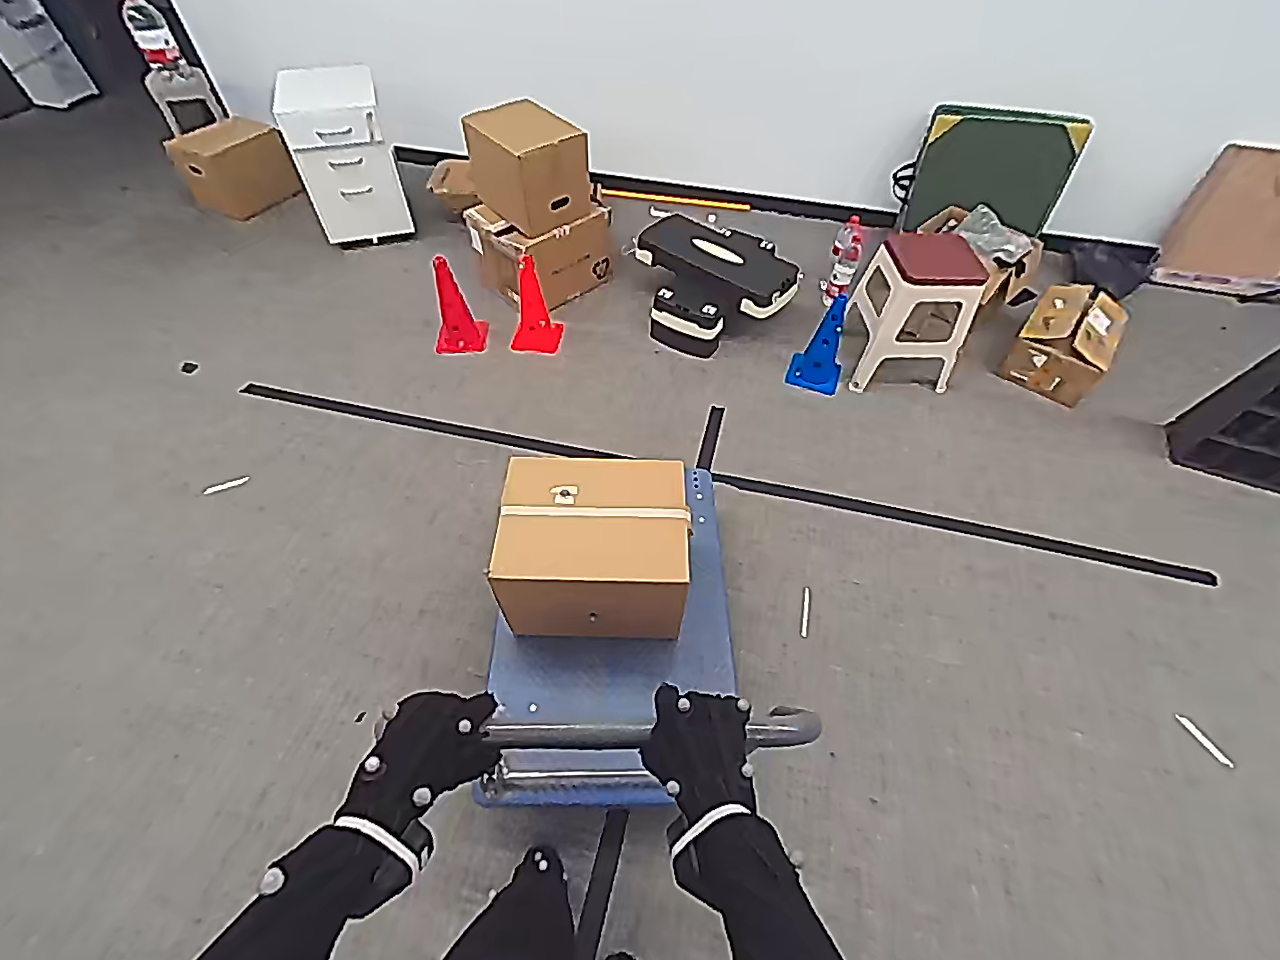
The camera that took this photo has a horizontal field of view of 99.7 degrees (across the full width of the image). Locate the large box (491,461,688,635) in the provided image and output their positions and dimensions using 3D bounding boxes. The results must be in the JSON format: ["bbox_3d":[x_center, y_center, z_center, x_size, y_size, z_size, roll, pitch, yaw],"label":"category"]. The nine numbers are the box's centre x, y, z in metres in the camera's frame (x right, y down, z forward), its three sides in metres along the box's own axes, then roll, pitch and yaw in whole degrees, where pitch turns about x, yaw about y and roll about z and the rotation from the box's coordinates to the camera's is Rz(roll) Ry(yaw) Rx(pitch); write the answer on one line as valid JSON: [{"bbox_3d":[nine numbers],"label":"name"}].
[{"bbox_3d":[-0.100,0.169,1.288,0.408,0.320,0.320,2,53,0],"label":"large box"}]
